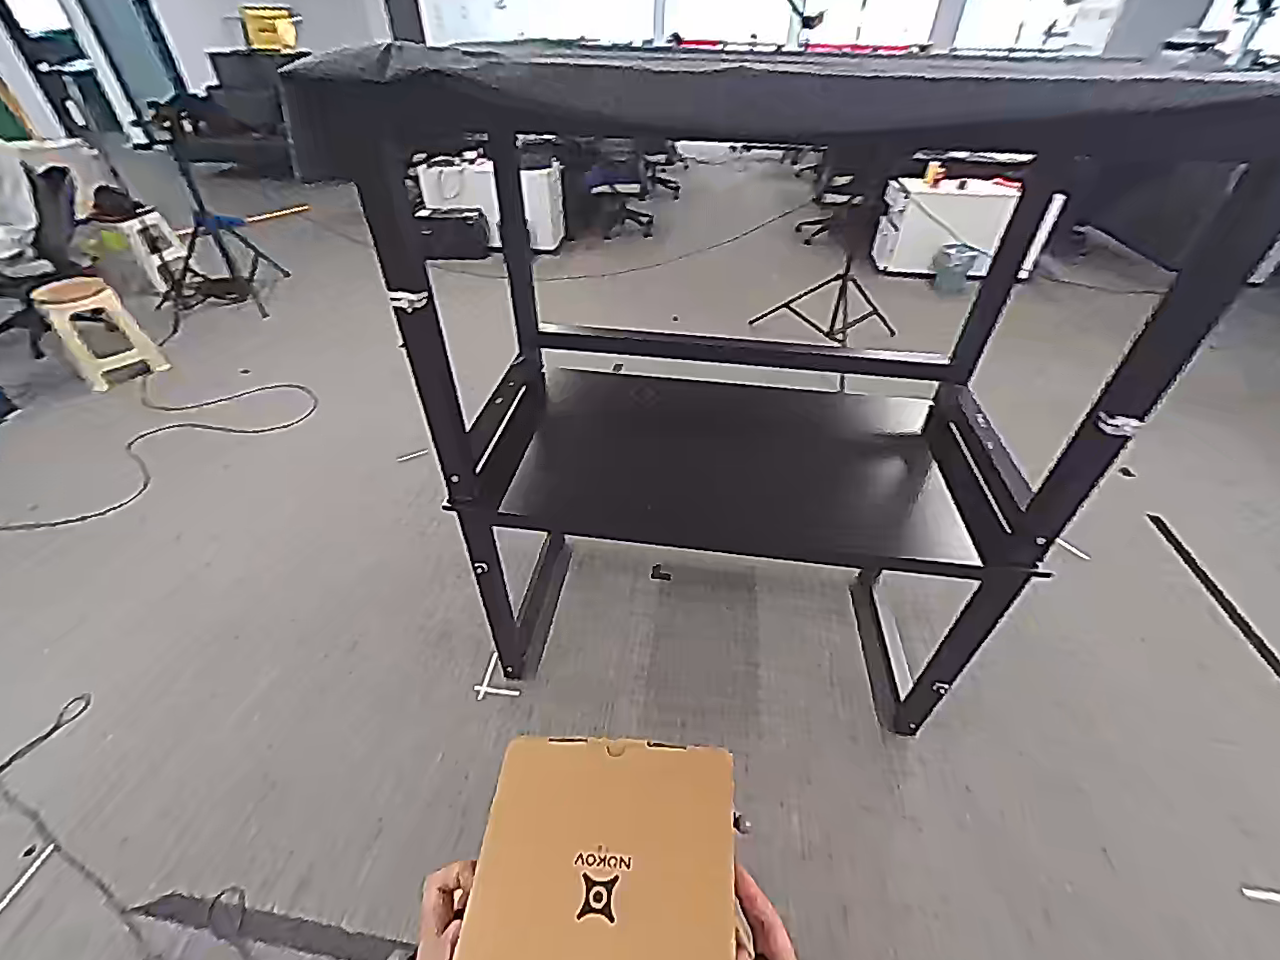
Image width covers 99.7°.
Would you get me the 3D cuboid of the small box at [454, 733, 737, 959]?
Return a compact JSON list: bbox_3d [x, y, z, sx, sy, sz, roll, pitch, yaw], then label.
[{"bbox_3d":[-0.015,0.307,0.388,0.168,0.176,0.179,-1,42,7],"label":"small box"}]
